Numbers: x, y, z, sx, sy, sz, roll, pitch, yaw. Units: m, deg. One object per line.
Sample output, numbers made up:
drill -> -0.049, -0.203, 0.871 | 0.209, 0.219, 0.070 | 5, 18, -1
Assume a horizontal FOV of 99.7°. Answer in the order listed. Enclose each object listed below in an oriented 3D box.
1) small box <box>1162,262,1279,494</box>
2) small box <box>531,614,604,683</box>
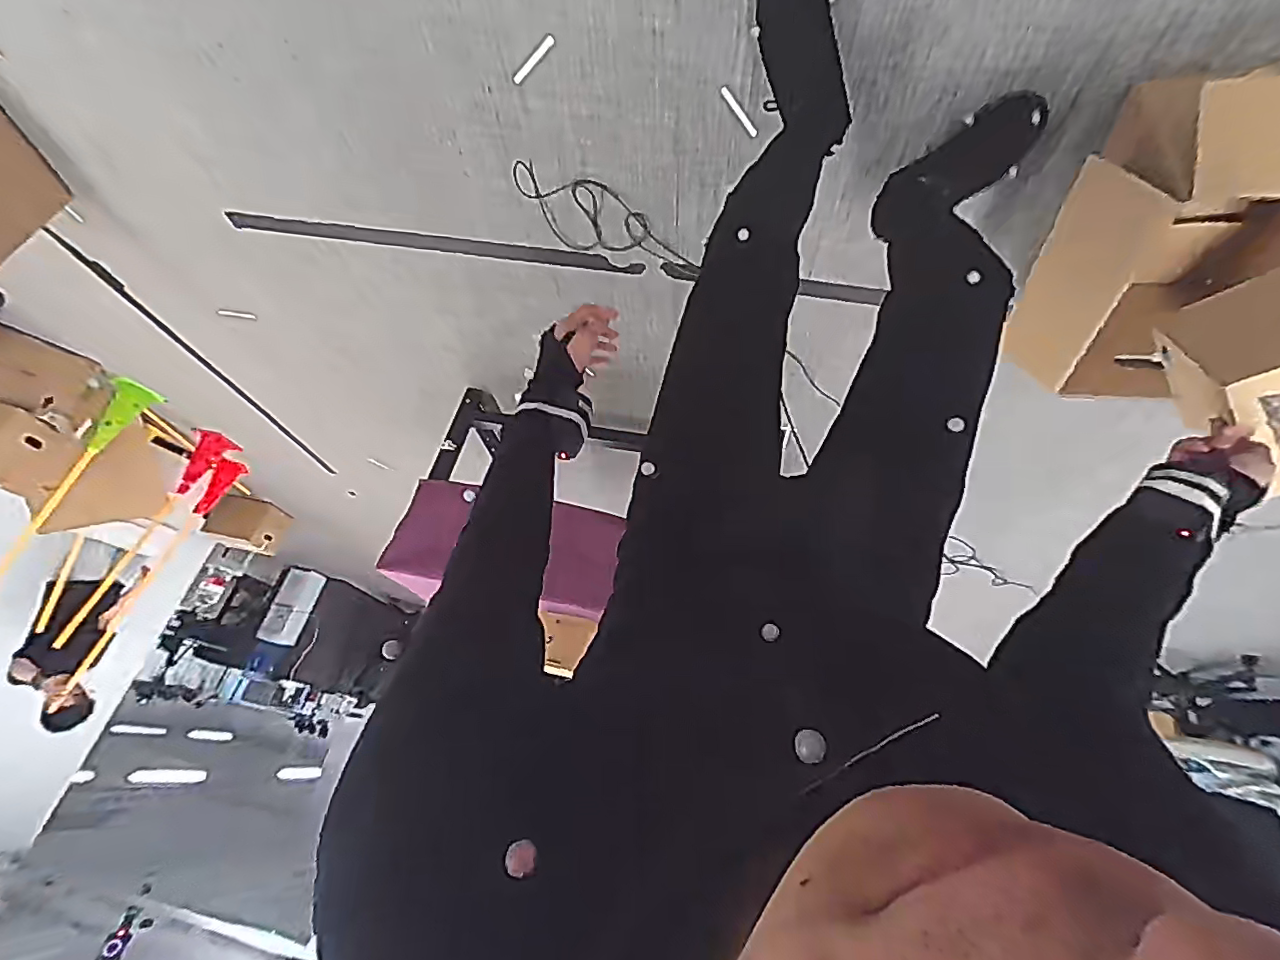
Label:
small box -> 0.698, -0.121, 0.564 | 0.179, 0.176, 0.168 | -27, 115, 34
small box -> -0.228, 0.546, 1.753 | 0.168, 0.176, 0.179 | 5, 153, 16
